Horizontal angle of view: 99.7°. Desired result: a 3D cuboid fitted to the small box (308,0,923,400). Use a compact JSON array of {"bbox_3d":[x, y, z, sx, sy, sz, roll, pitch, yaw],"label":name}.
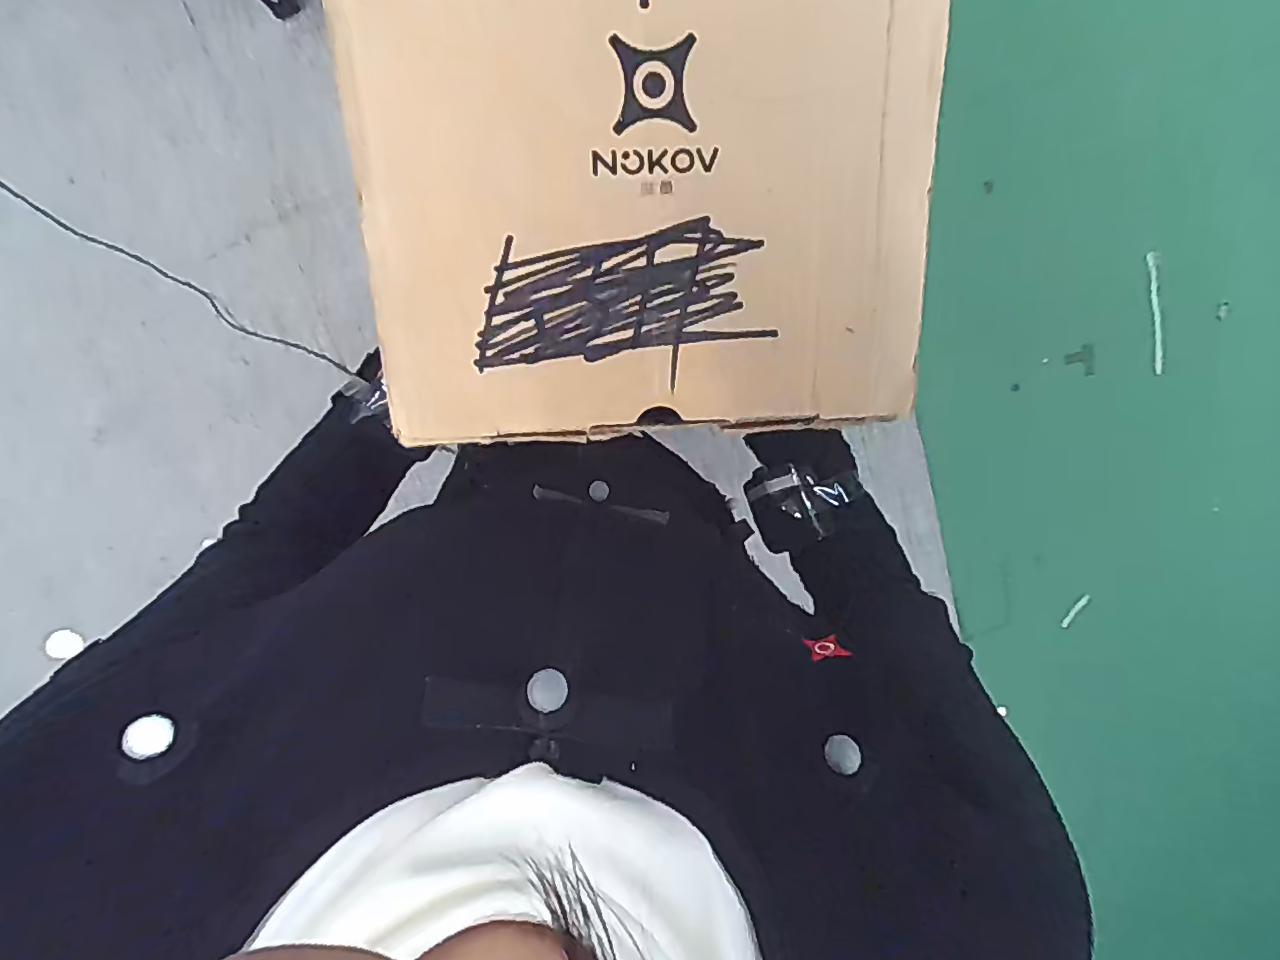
[{"bbox_3d":[-0.008,-0.133,0.225,0.168,0.176,0.179,-3,105,-3],"label":"small box"}]
